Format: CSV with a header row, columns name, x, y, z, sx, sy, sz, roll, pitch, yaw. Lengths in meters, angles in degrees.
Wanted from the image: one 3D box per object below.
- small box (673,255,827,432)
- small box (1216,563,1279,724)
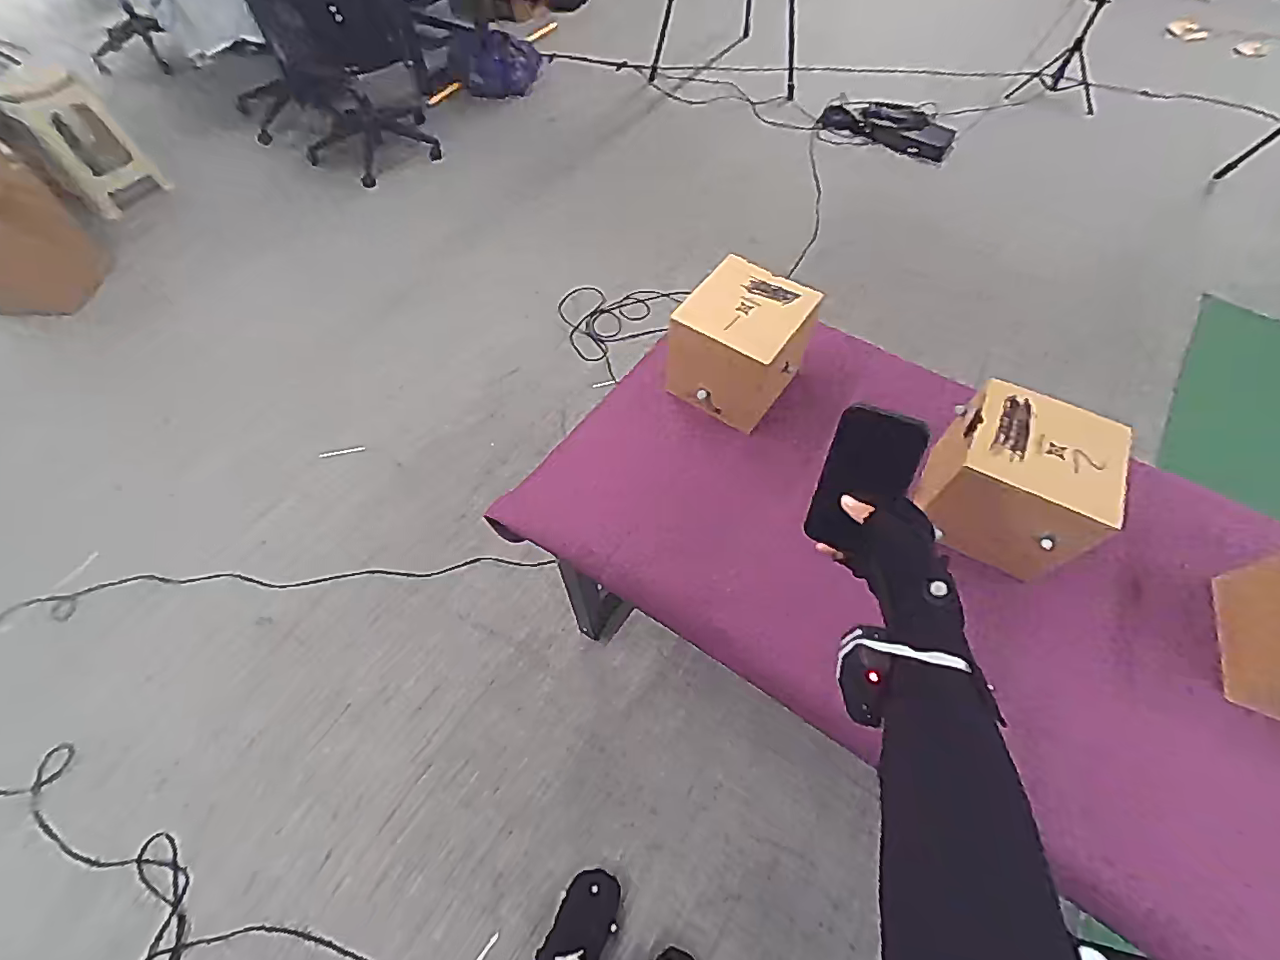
name,x,y,z,sx,sy,sz,roll,pitch,yaw
small box,0.163,-0.213,0.858,0.168,0.176,0.179,33,65,18
small box,0.820,0.199,0.612,0.168,0.176,0.179,22,60,13
